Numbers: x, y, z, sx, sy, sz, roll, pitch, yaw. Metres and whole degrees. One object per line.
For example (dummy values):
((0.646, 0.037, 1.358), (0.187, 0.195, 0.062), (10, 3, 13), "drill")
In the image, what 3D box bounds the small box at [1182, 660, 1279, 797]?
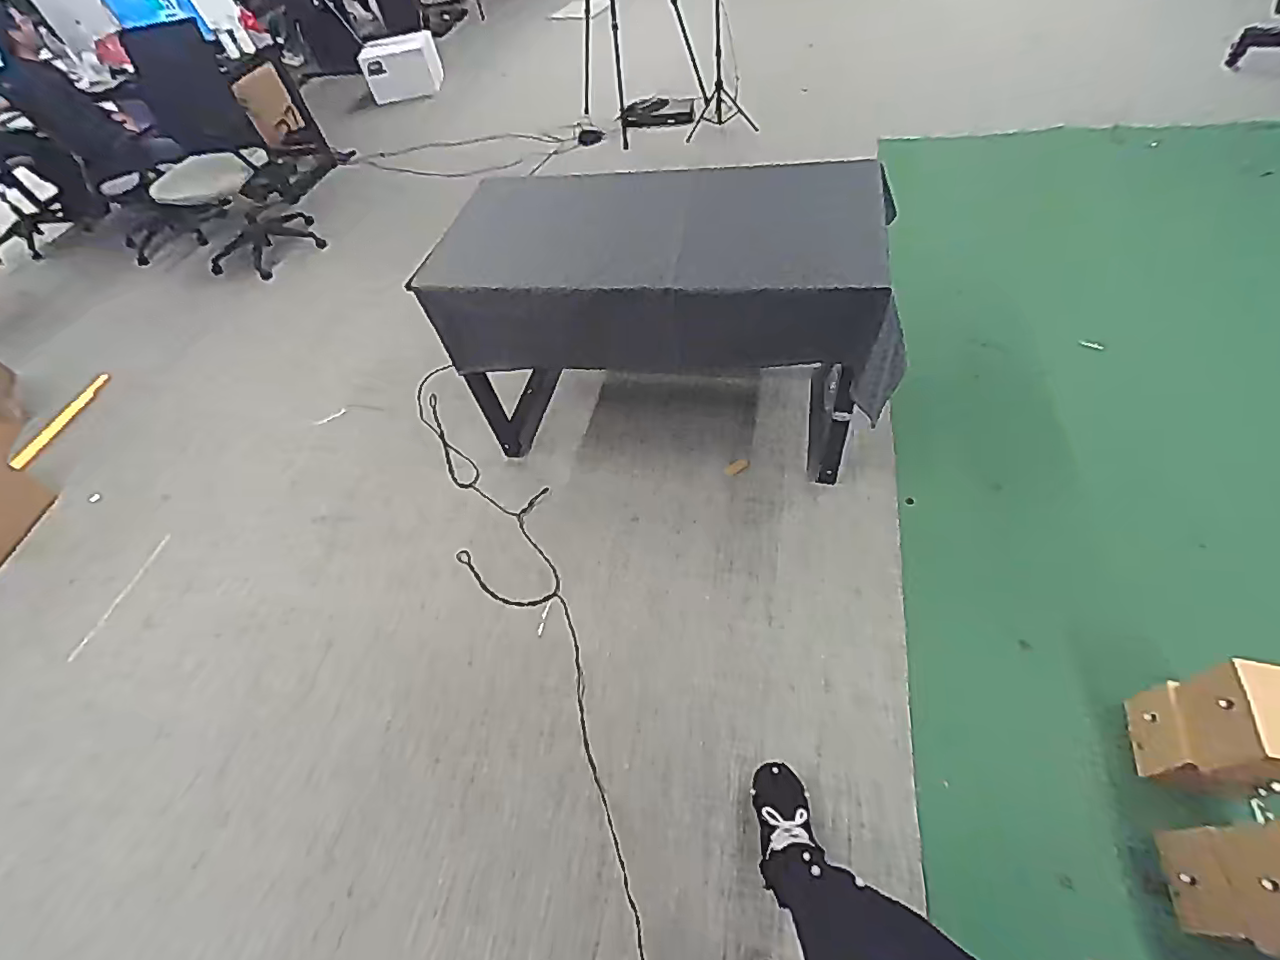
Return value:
((1.160, 0.461, 0.992), (0.168, 0.176, 0.179), (9, 54, 16), "small box")

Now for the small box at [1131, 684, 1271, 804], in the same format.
((1.176, 0.553, 1.128), (0.179, 0.176, 0.168), (10, 55, 17), "small box")
